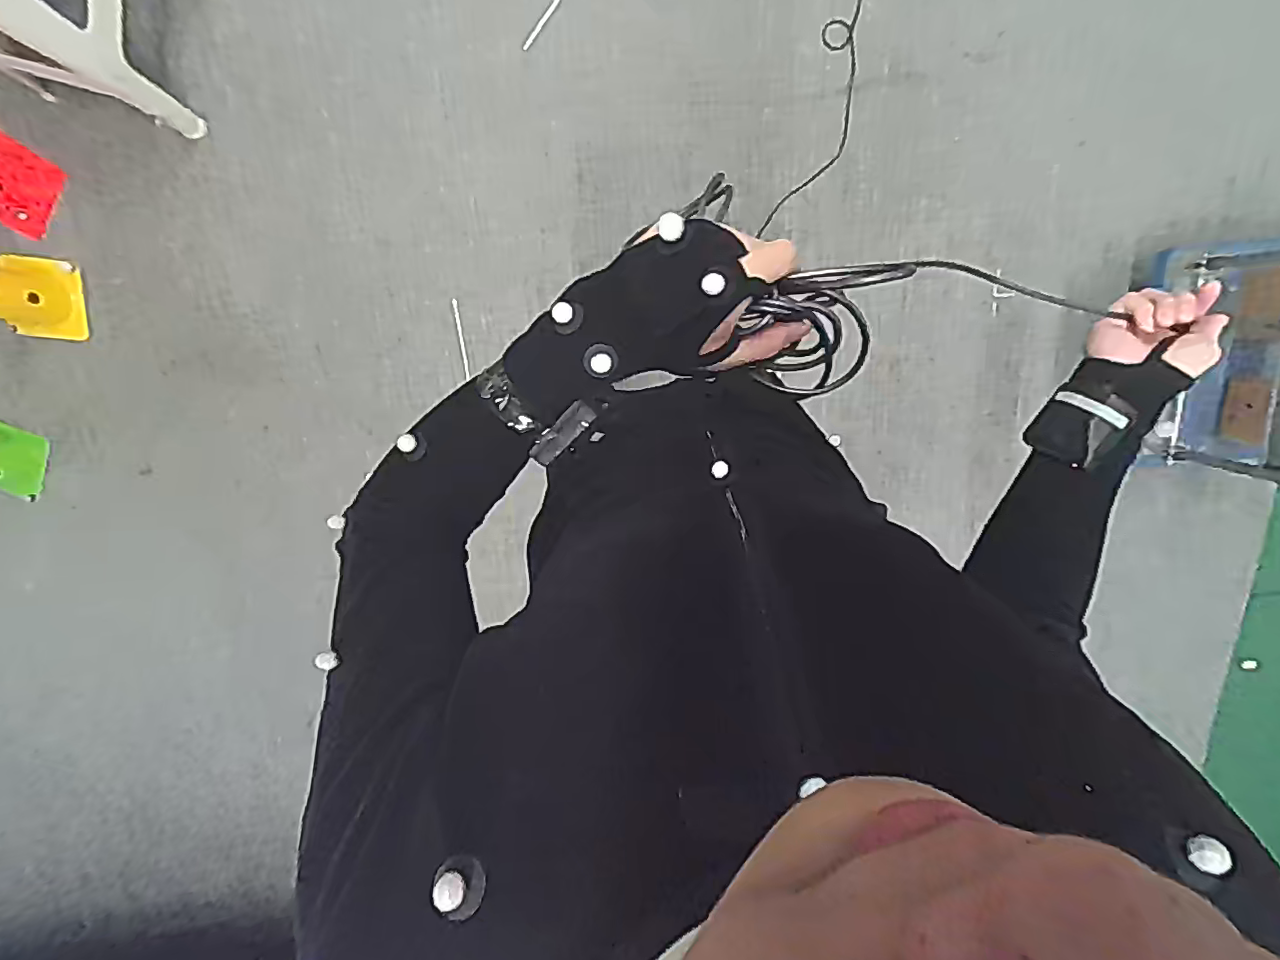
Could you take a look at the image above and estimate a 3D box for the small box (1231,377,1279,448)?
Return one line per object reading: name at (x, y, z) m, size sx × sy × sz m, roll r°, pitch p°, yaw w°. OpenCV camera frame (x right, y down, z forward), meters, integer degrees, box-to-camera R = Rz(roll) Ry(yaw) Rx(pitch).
small box at (1.687, -0.173, 1.372) m, size 0.179 × 0.176 × 0.168 m, roll -4°, pitch 105°, yaw 0°
